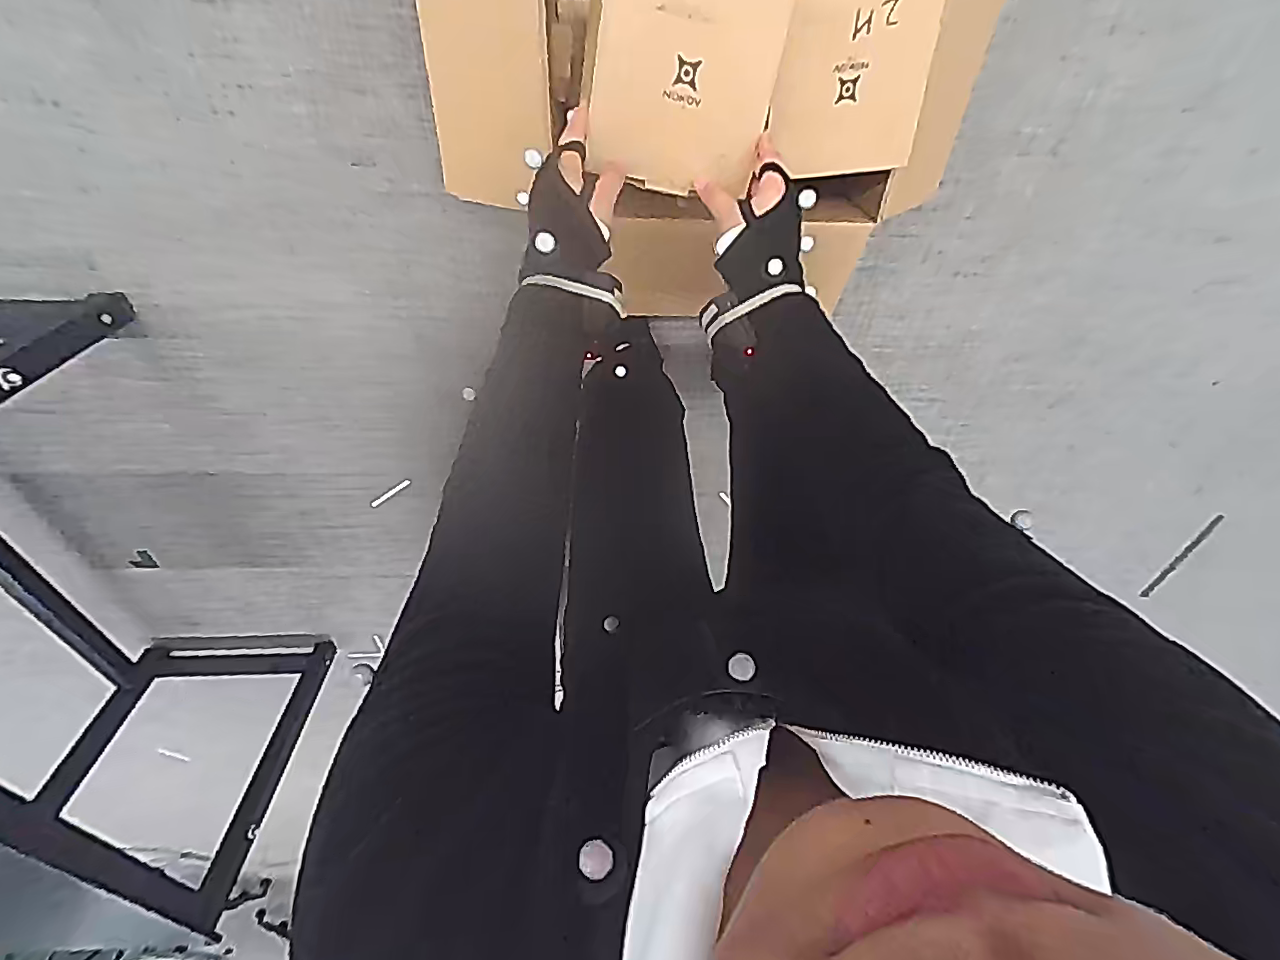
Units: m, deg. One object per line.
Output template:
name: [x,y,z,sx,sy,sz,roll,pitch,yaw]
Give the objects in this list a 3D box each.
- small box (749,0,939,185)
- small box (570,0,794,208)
small box: [0.198,-0.456,0.611,0.168,0.176,0.179,-7,131,-2]
small box: [0.024,-0.389,0.541,0.168,0.176,0.179,4,119,-14]
